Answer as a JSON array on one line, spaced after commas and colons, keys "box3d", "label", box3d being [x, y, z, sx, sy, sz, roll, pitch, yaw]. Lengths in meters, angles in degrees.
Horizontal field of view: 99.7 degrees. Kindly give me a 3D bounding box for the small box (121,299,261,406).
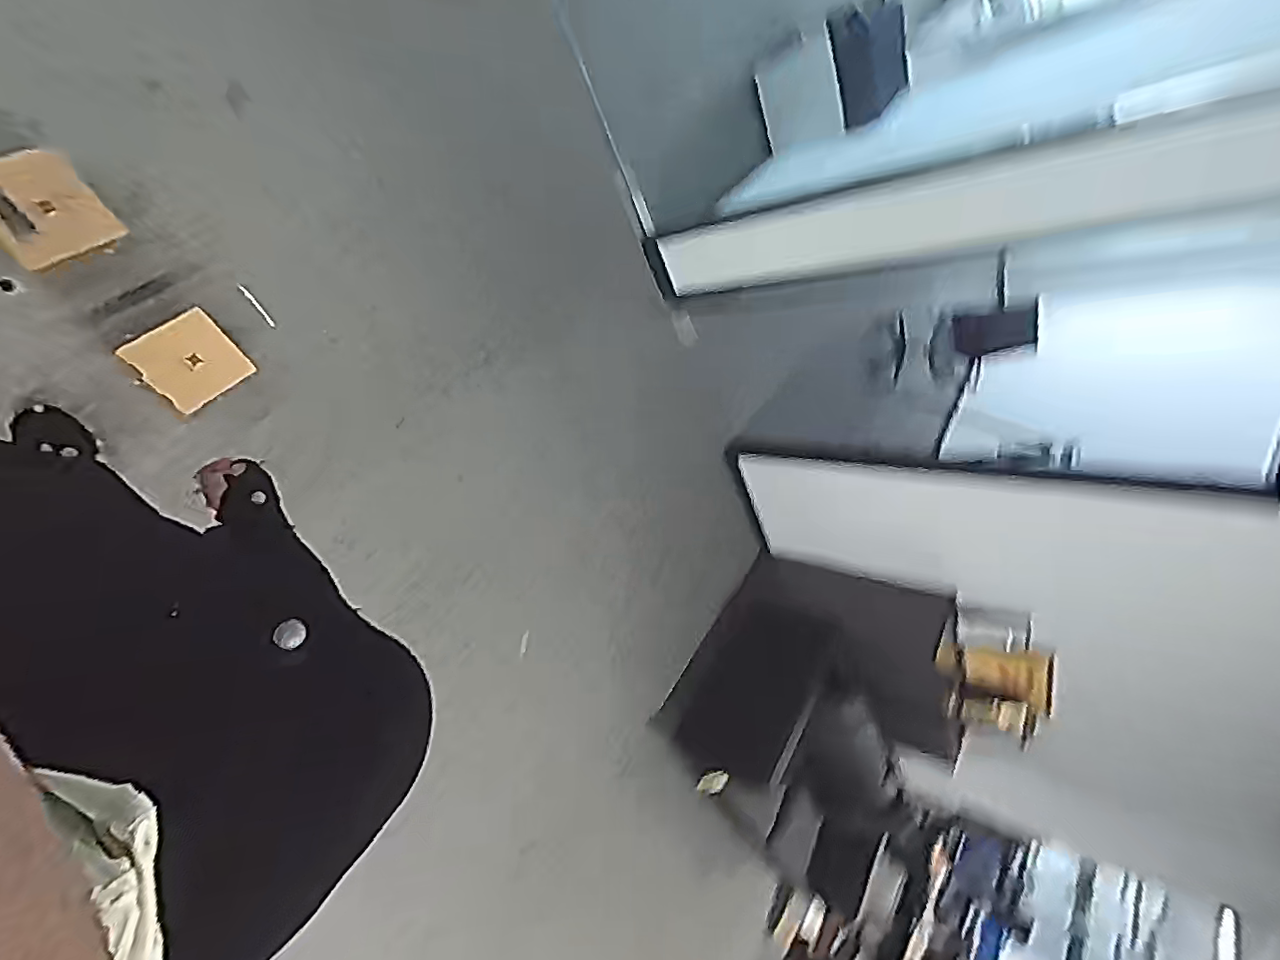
[{"box3d": [-1.015, -0.288, 1.219, 0.179, 0.176, 0.168, -49, 130, -28], "label": "small box"}]
